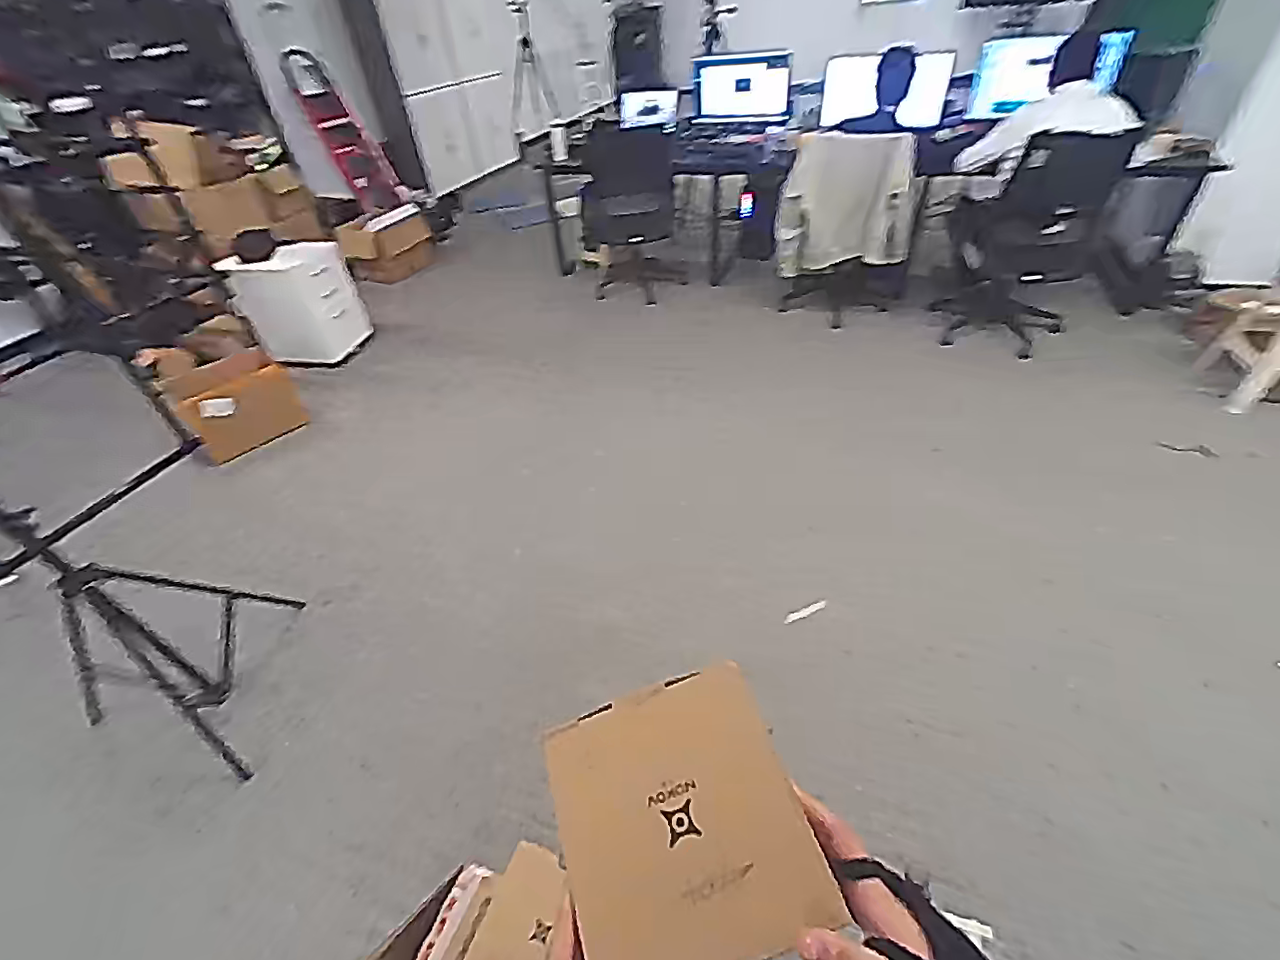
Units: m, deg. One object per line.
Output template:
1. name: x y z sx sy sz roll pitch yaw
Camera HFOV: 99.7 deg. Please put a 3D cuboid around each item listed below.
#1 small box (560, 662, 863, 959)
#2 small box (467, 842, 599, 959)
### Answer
1. small box: 0.047 0.281 0.438 0.168 0.176 0.179 -19 53 -4
2. small box: -0.108 0.634 0.728 0.179 0.176 0.168 12 43 17
